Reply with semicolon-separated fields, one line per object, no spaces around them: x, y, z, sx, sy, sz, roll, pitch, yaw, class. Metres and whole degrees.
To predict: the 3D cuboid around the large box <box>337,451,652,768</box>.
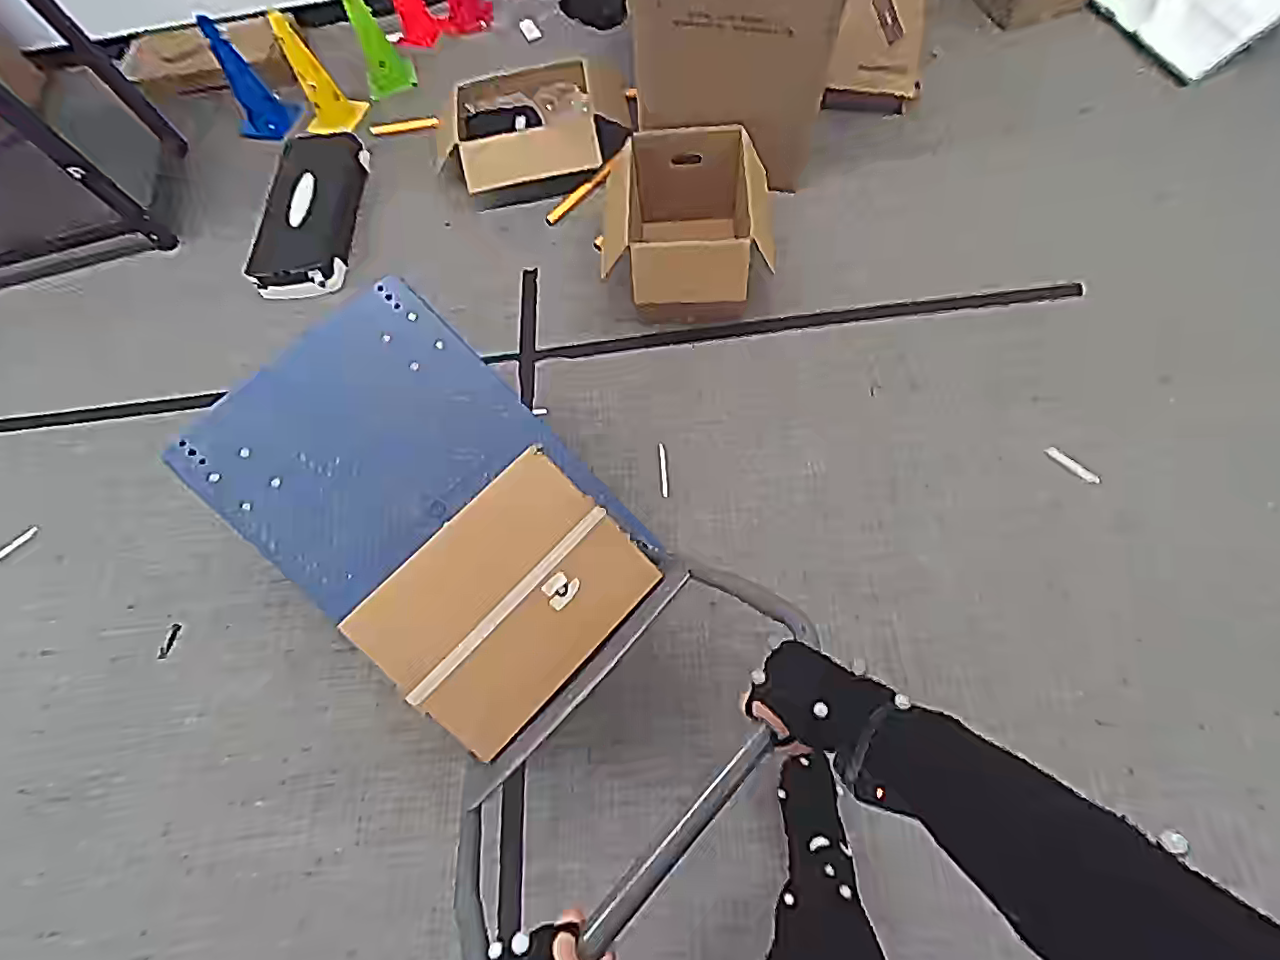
-0.248;0.212;0.997;0.320;0.320;0.408;45;77;-7;large box
